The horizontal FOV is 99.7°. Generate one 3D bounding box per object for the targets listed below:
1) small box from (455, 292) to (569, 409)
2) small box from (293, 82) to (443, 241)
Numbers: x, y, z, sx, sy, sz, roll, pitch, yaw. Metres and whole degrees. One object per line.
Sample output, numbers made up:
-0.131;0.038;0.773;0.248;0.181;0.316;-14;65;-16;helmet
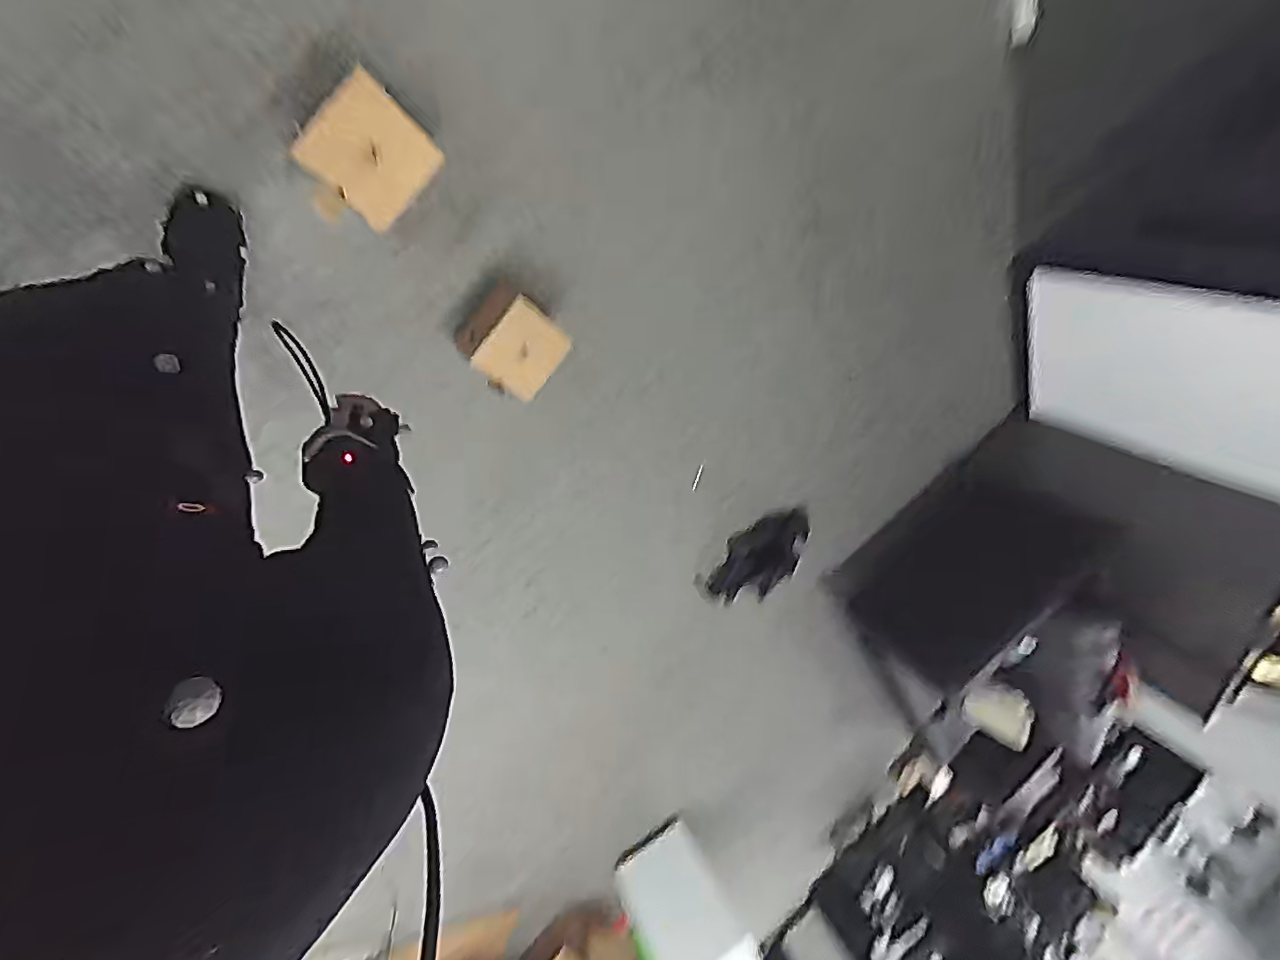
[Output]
-0.299;-0.297;1.230;0.179;0.176;0.168;-52;132;3;small box
-0.486;-0.560;0.960;0.179;0.176;0.168;-48;130;2;small box
